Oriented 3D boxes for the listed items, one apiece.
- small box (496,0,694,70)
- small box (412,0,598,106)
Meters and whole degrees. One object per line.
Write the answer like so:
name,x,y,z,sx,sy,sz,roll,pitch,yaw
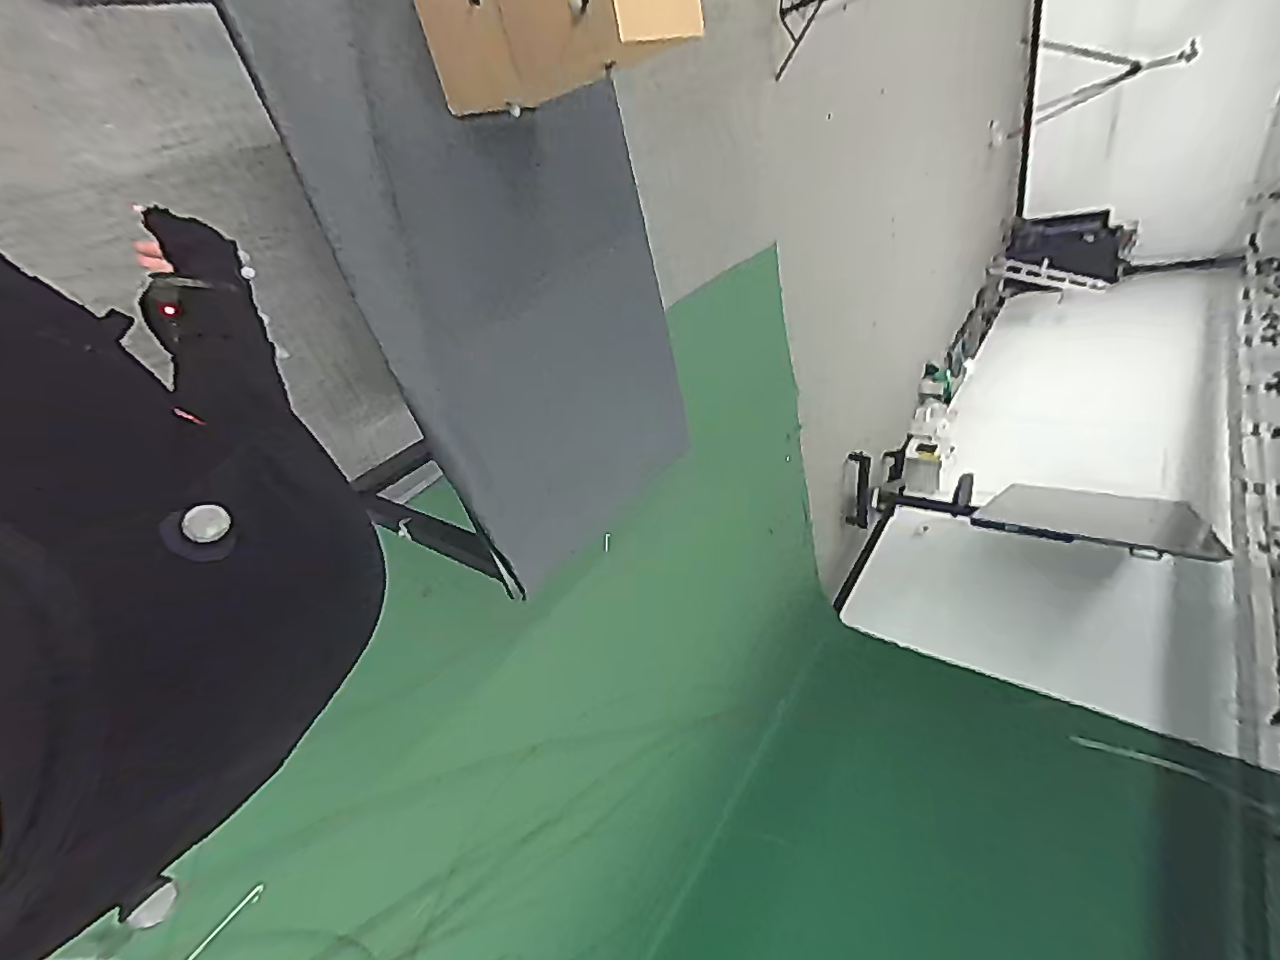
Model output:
small box,-0.063,-0.600,0.625,0.168,0.176,0.179,-42,129,-37
small box,-0.187,-0.634,0.728,0.168,0.176,0.179,-40,129,-38
